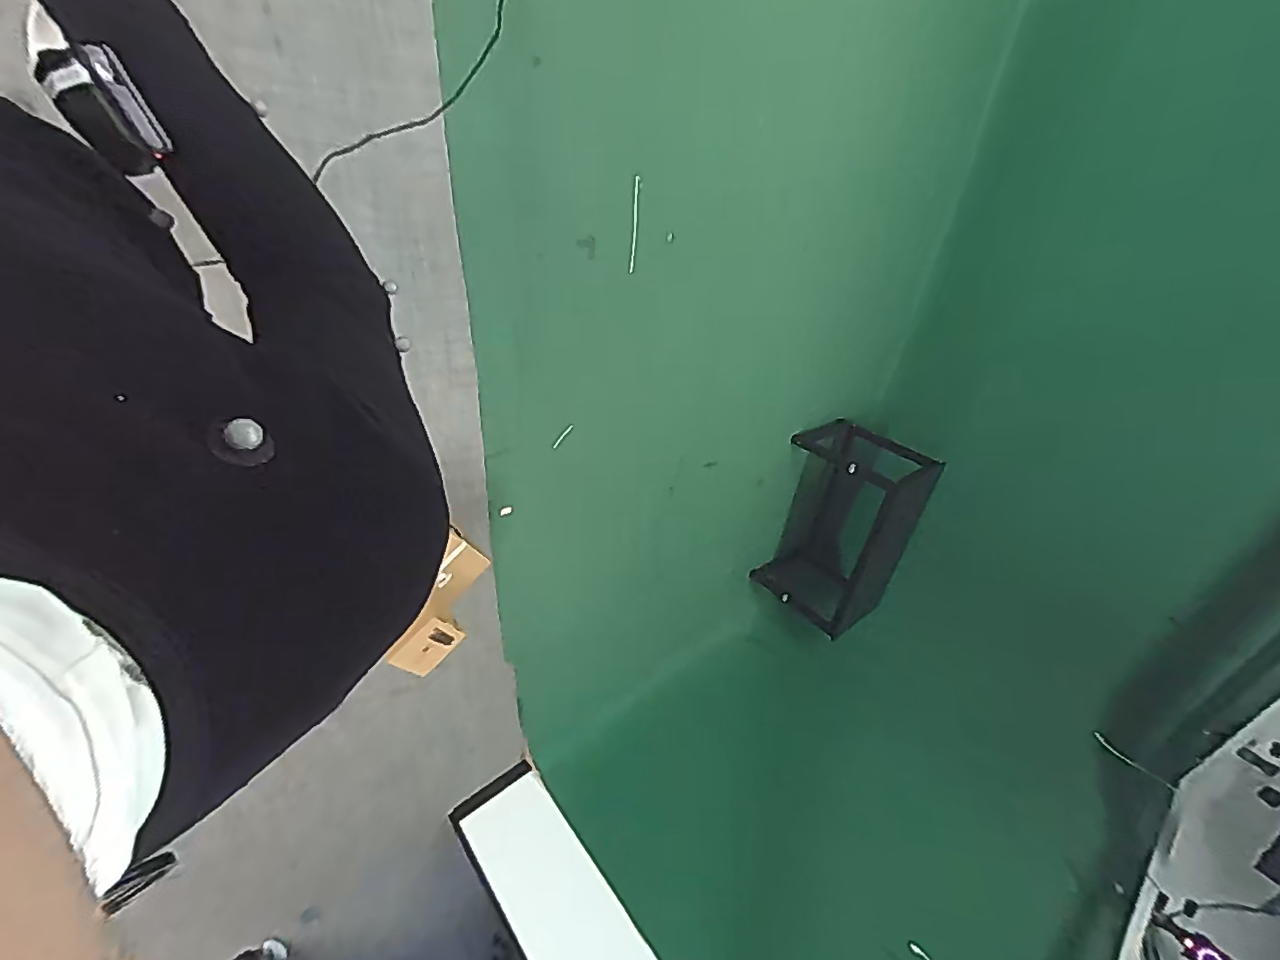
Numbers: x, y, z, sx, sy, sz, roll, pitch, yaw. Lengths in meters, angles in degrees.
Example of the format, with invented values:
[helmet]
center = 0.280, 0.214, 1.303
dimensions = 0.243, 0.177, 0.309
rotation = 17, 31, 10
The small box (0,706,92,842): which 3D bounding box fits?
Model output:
[small box]
center = -1.286, 0.605, 1.127
dimensions = 0.168, 0.176, 0.179
rotation = -17, 128, -38
